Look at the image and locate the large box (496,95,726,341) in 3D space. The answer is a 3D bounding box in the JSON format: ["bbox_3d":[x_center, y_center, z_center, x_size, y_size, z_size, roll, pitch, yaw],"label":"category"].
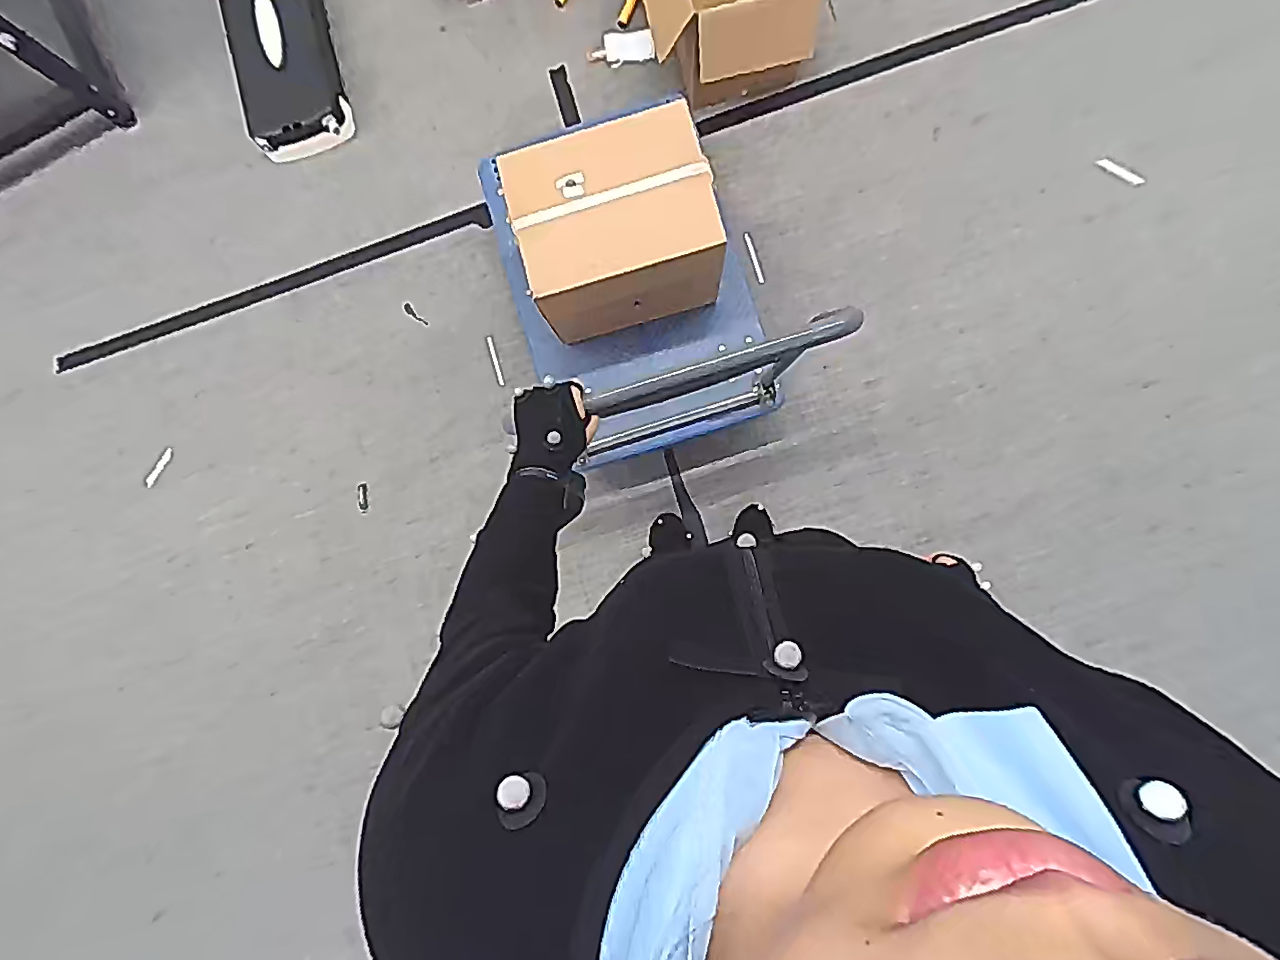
[{"bbox_3d":[-0.049,-0.553,1.217,0.408,0.320,0.320,-16,85,4],"label":"large box"}]
